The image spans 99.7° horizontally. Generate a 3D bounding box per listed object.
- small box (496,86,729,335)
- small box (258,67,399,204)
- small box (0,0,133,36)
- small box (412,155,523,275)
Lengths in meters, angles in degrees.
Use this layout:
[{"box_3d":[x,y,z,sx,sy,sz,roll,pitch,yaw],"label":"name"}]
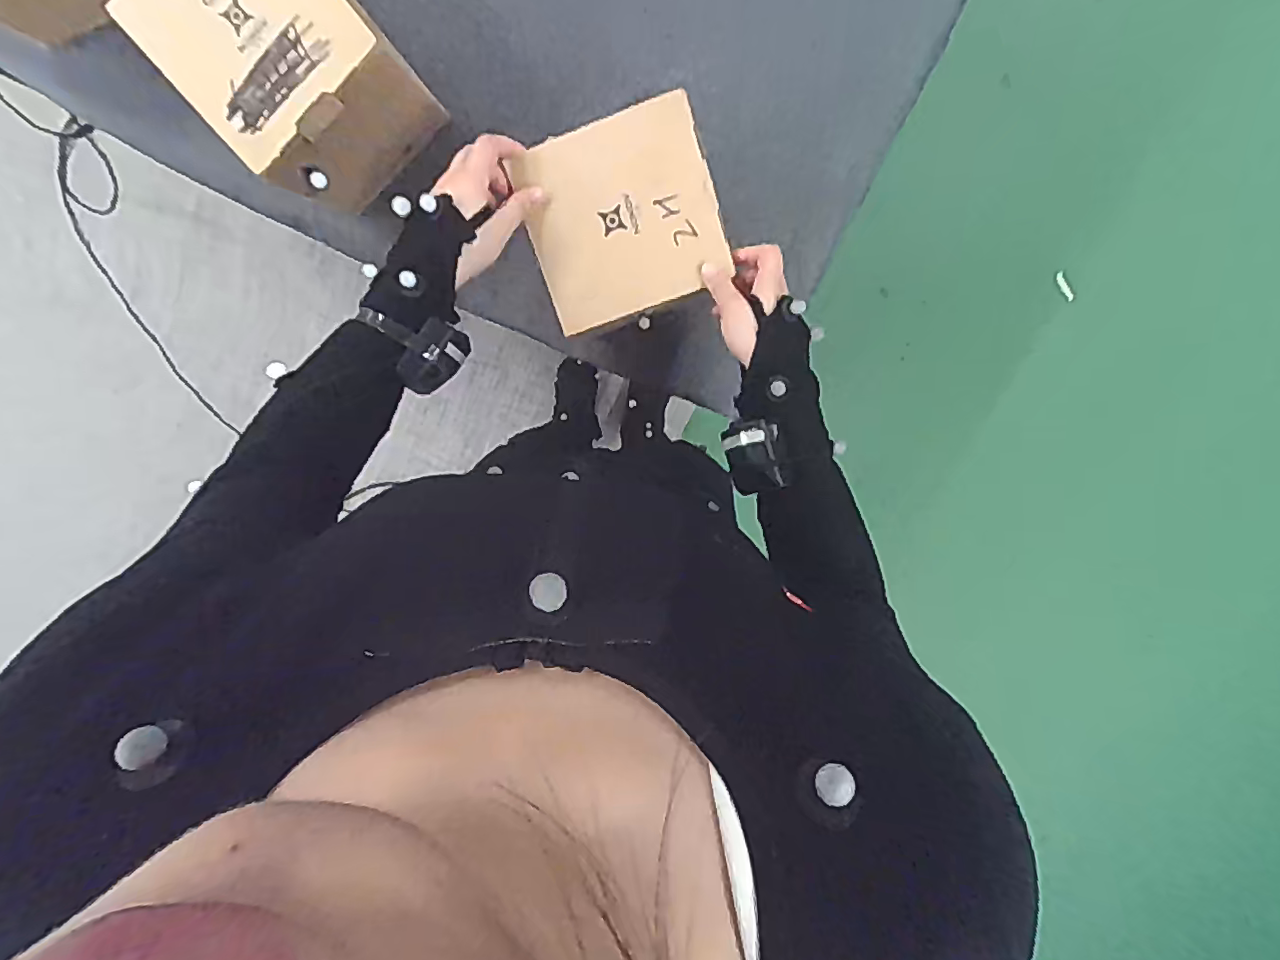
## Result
[{"box_3d":[-0.020,-0.256,0.564,0.179,0.176,0.168,-18,103,6],"label":"small box"},{"box_3d":[-0.681,-0.747,1.200,0.179,0.176,0.168,37,104,-8],"label":"small box"},{"box_3d":[-0.619,-0.562,0.495,0.179,0.176,0.168,-16,105,6],"label":"small box"},{"box_3d":[-0.373,-0.593,1.238,0.179,0.176,0.168,44,102,-9],"label":"small box"}]
